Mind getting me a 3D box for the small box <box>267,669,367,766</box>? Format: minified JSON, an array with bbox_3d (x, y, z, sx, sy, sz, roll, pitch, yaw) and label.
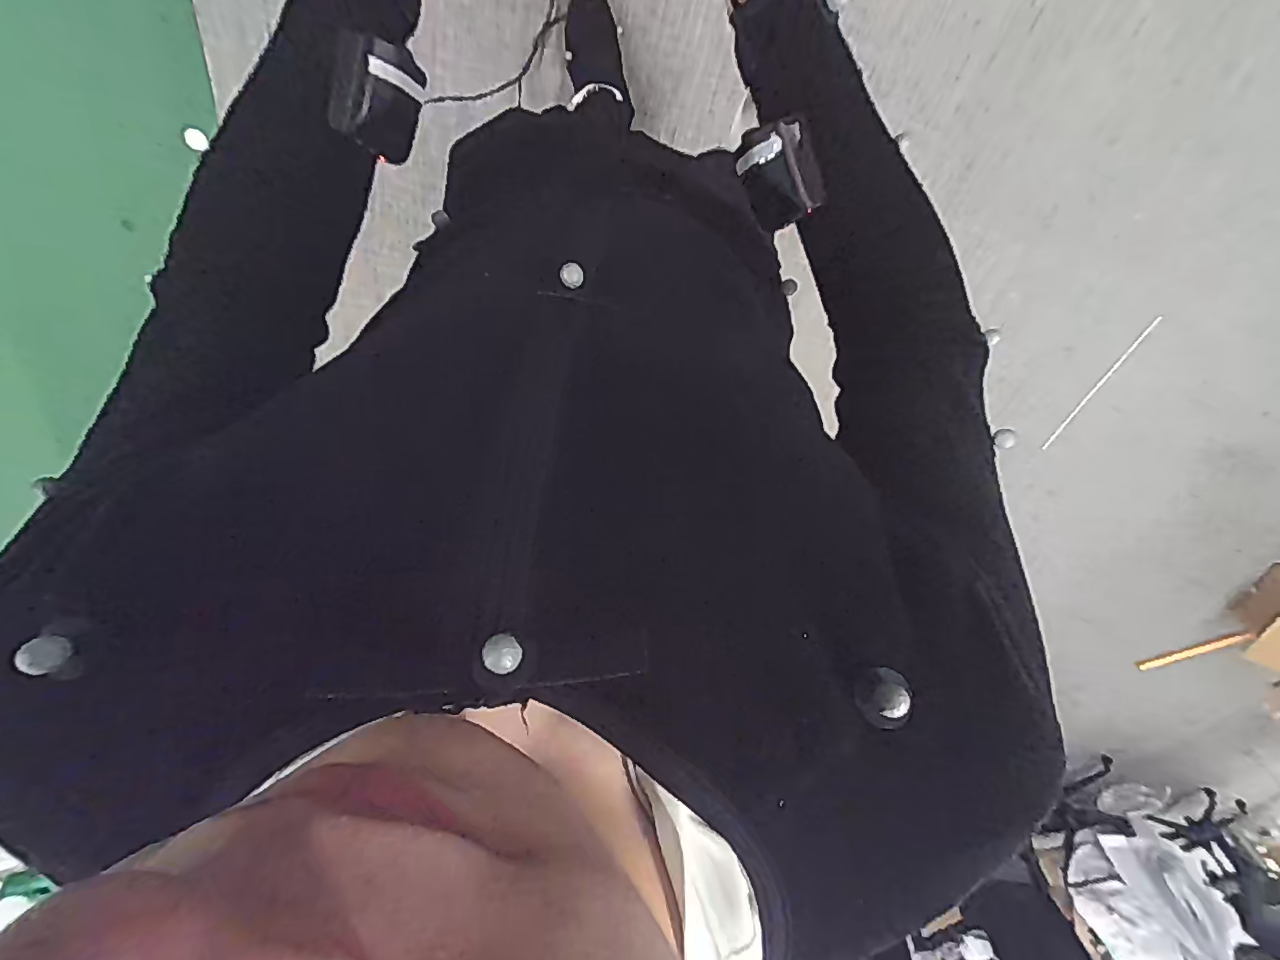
[{"bbox_3d":[-0.840,0.622,1.421,0.179,0.176,0.168,18,127,-12],"label":"small box"}]
